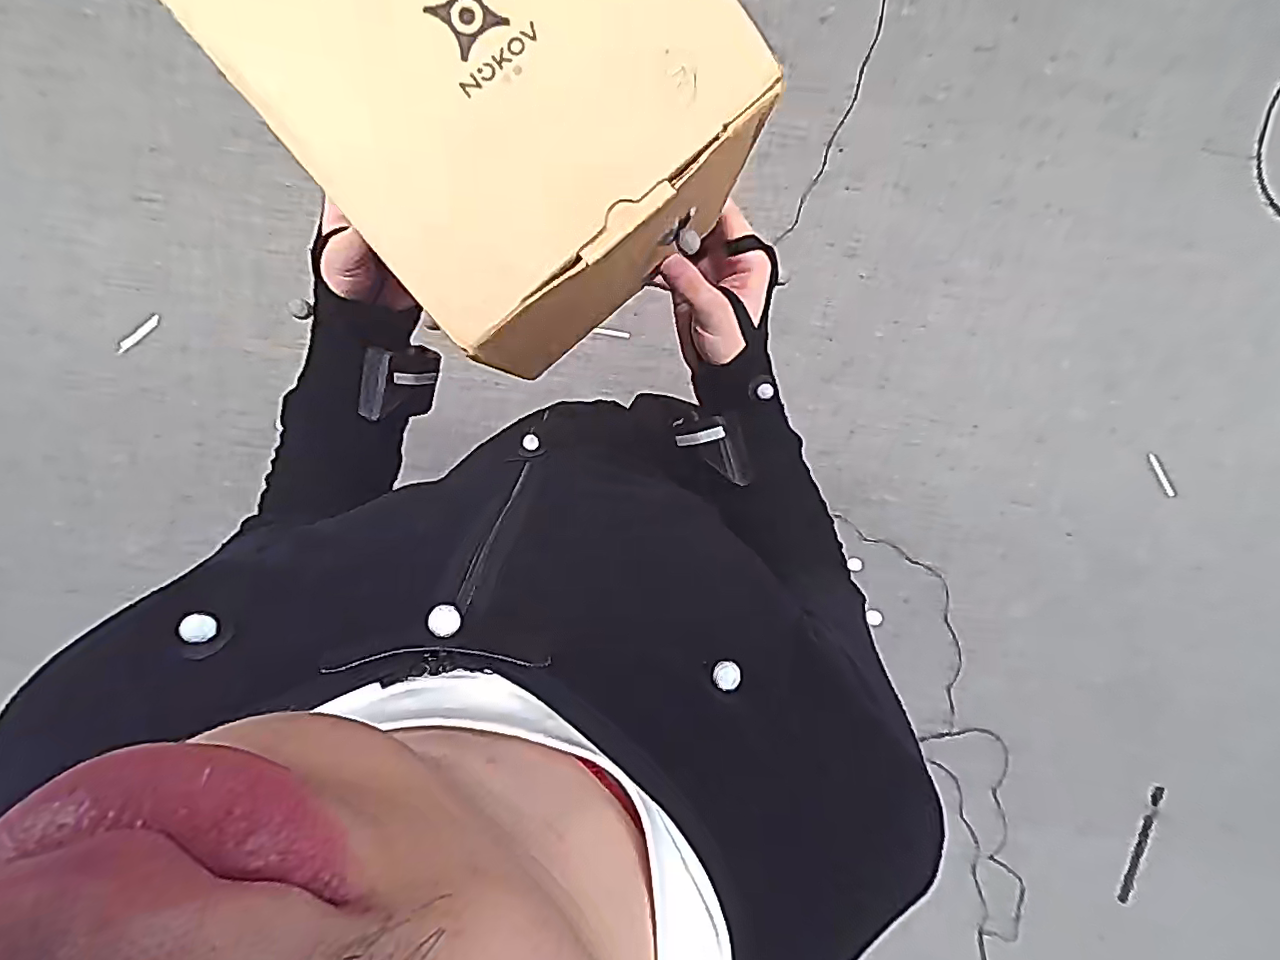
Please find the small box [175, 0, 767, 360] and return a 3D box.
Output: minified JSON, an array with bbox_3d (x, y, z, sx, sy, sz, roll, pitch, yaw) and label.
[{"bbox_3d":[-0.065,-0.181,0.291,0.168,0.176,0.179,-40,97,2],"label":"small box"}]
